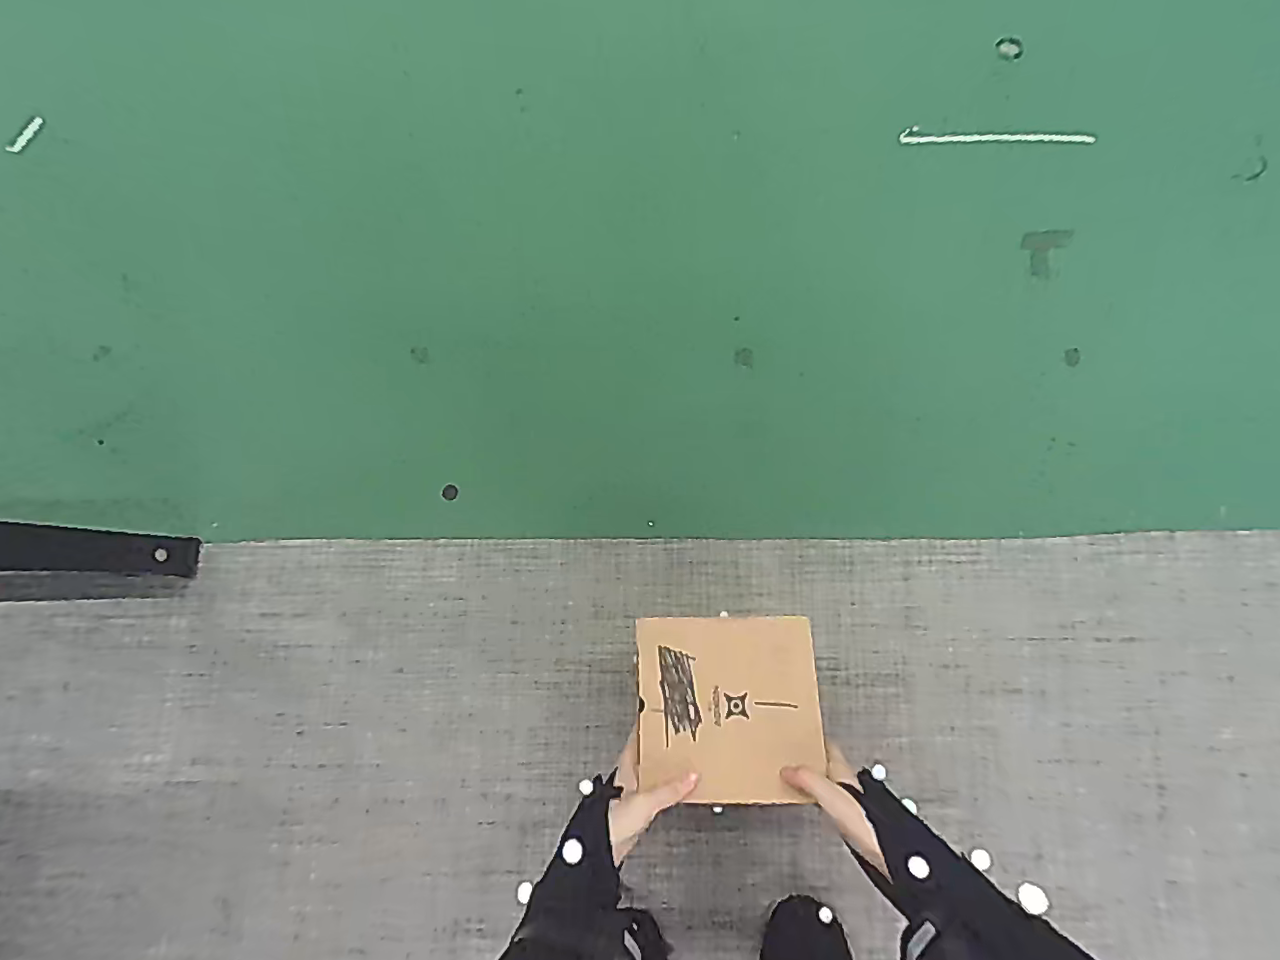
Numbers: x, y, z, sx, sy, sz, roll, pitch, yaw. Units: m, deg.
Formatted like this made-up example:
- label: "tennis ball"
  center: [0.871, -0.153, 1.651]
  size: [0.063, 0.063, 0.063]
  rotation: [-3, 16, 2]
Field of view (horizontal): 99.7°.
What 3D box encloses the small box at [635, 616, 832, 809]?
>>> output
- label: "small box"
  center: [0.089, 0.240, 0.579]
  size: [0.179, 0.176, 0.168]
  rotation: [-1, 69, 3]
